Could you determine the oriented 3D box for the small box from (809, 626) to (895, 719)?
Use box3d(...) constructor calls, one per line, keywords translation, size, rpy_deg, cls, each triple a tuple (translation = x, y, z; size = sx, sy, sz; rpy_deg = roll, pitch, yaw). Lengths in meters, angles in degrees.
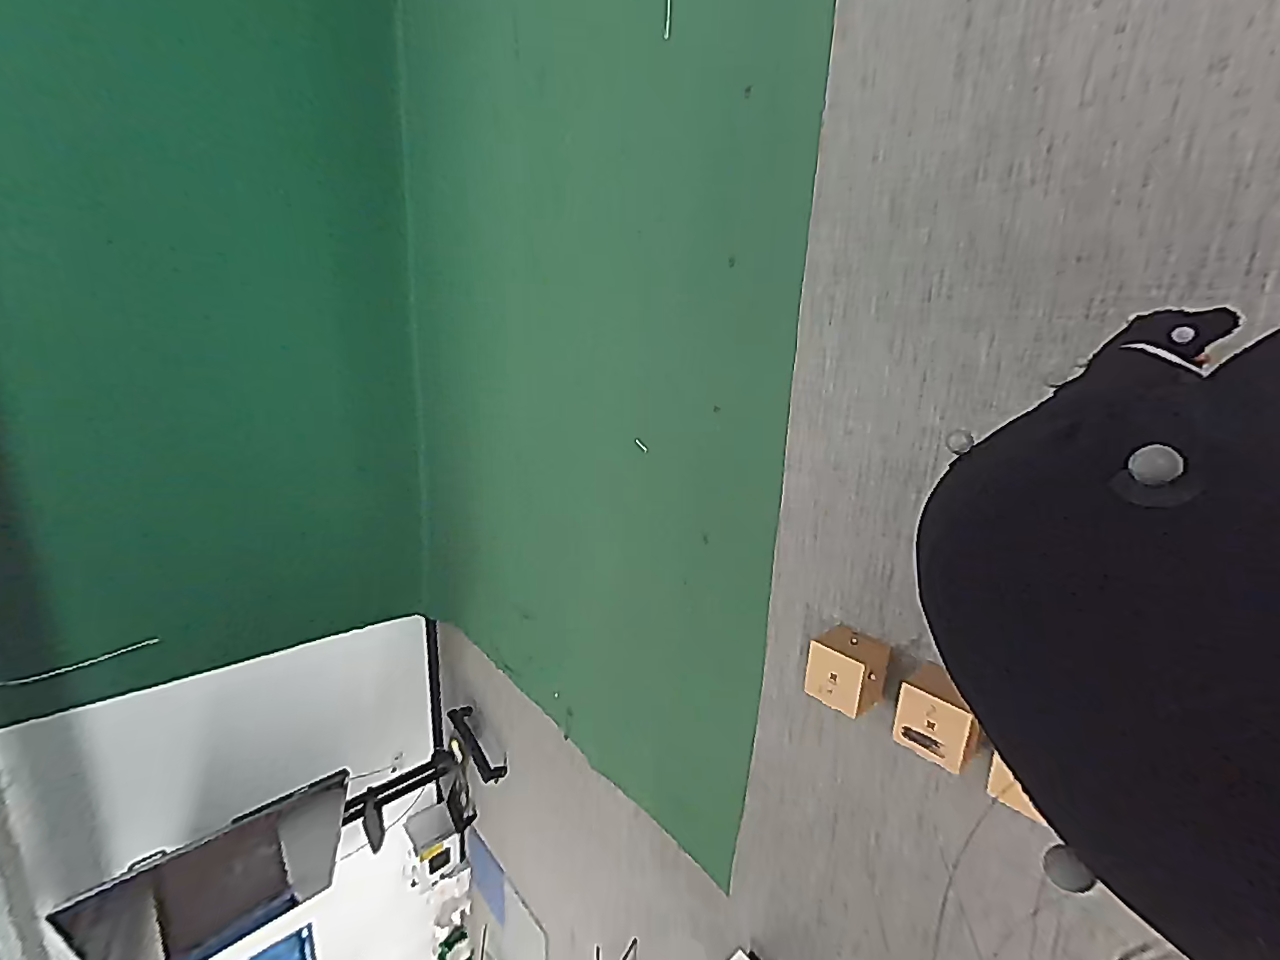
box3d(translation=(0.623, 0.550, 1.579), size=(0.168, 0.176, 0.179), rpy_deg=(19, 111, 47), cls="small box")
